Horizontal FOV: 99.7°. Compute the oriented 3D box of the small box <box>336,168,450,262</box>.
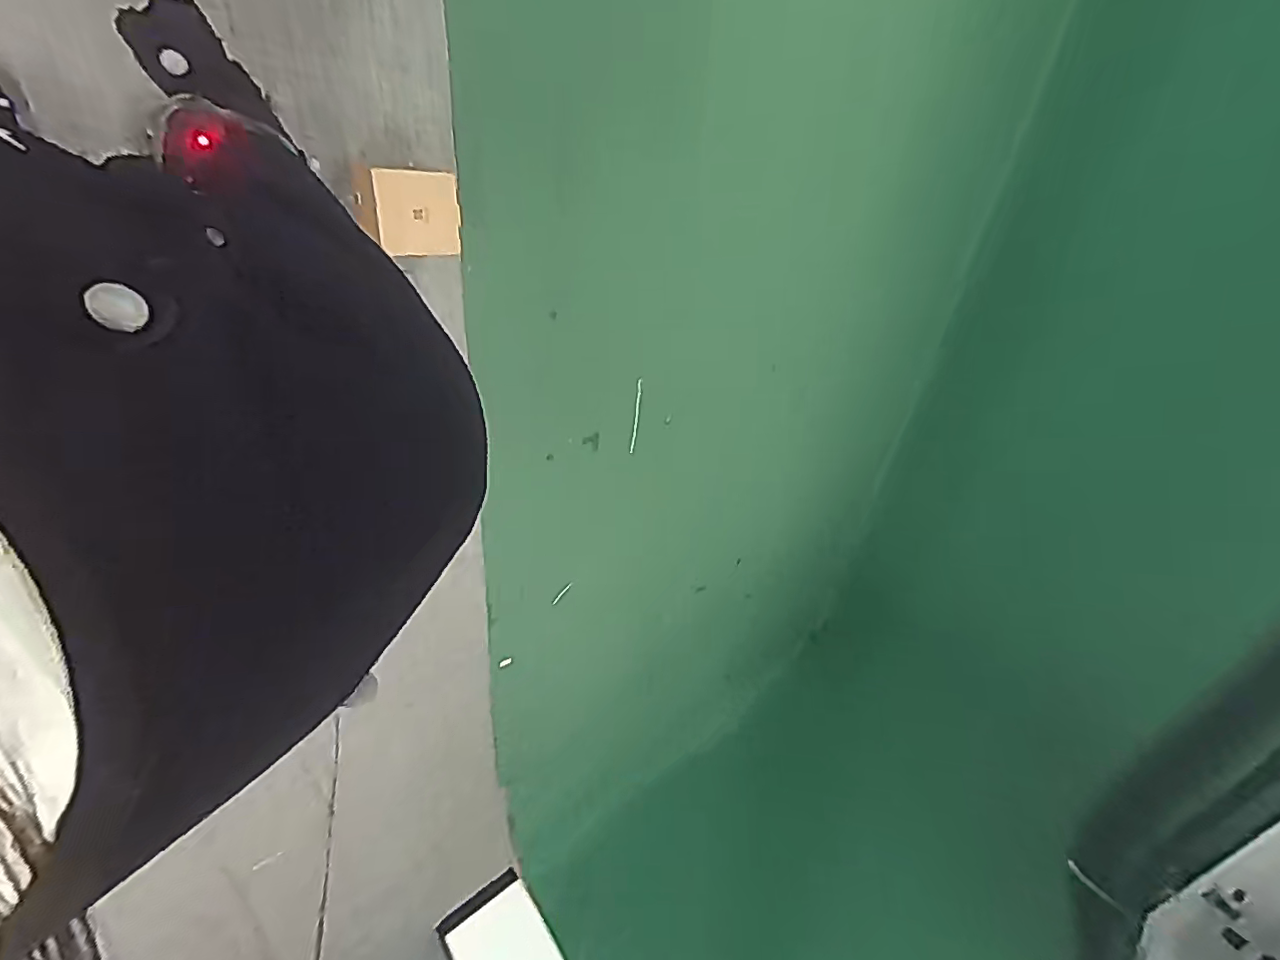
[{"bbox_3d":[-0.542,-0.585,1.194,0.179,0.176,0.168,-18,128,-35],"label":"small box"}]
